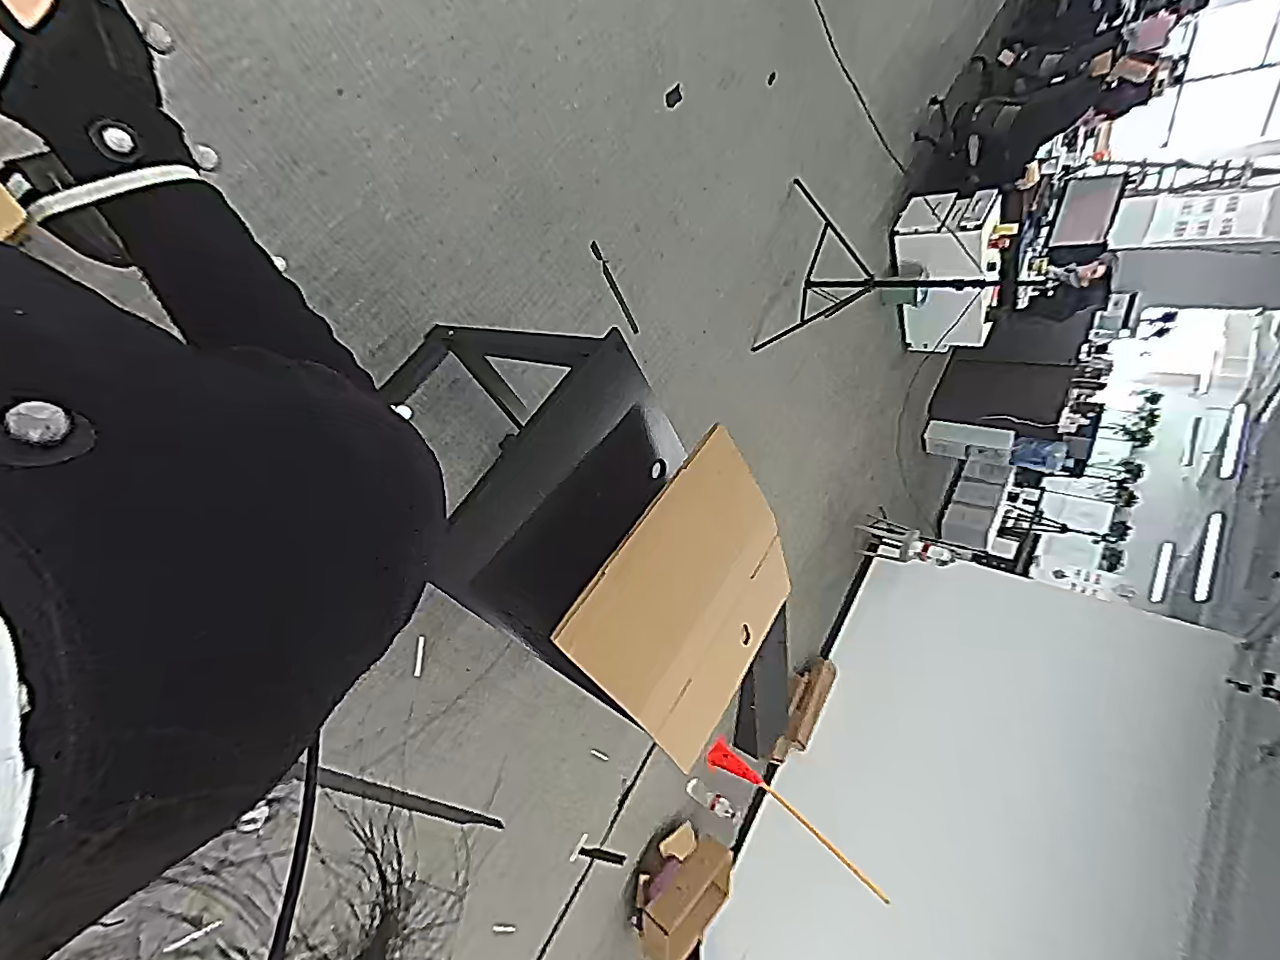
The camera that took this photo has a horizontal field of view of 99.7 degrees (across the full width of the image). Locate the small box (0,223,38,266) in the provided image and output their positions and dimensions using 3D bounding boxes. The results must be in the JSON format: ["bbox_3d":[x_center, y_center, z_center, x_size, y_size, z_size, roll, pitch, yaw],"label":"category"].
[{"bbox_3d":[-1.113,-0.400,0.841,0.179,0.176,0.168,-58,138,-17],"label":"small box"}]

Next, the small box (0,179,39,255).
[{"bbox_3d":[-0.991,-0.372,0.739,0.168,0.176,0.179,46,66,-47],"label":"small box"}]
